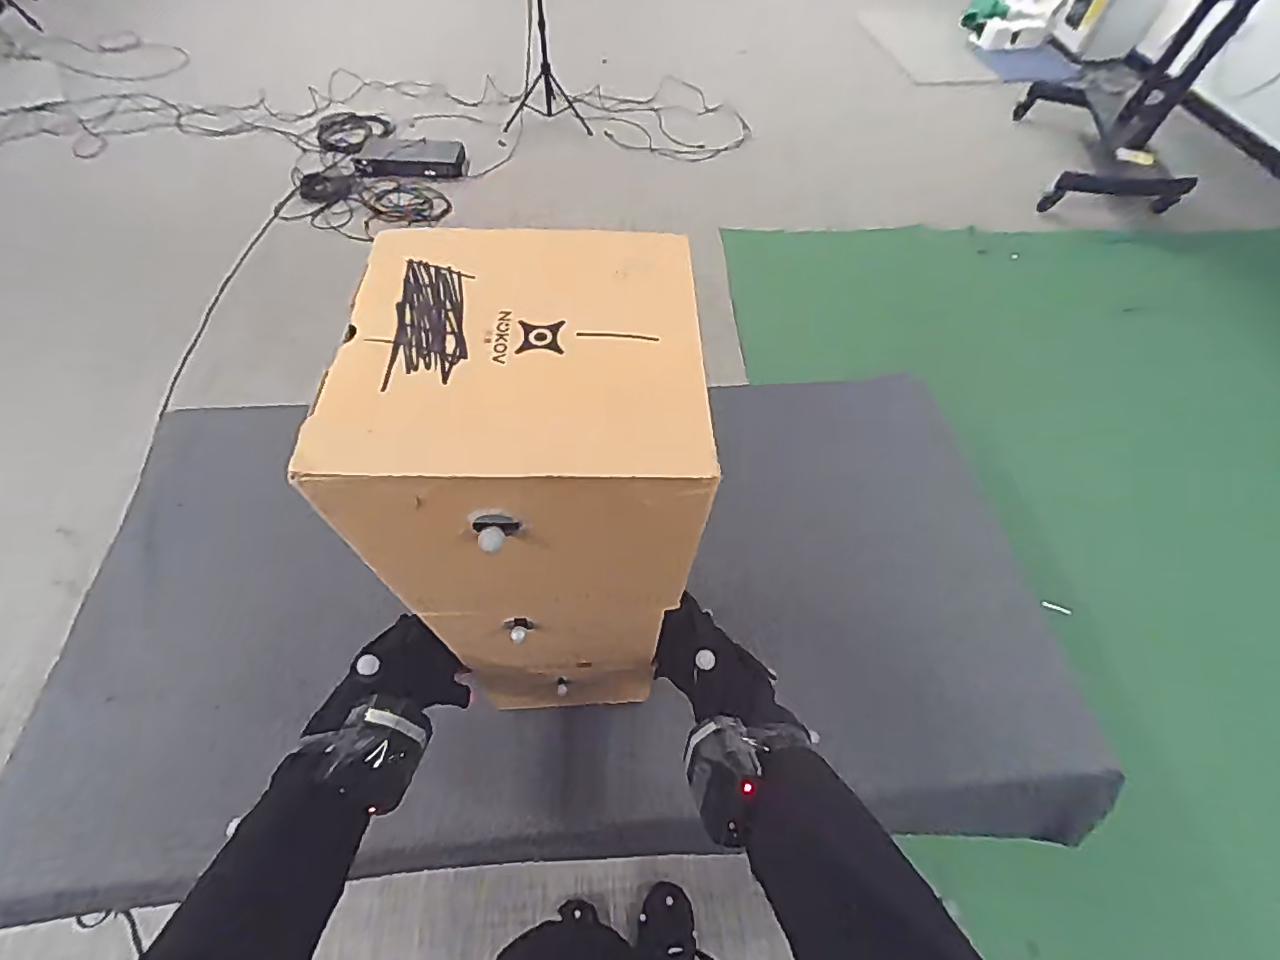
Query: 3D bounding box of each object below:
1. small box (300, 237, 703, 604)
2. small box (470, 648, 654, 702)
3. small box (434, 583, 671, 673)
[{"bbox_3d":[-0.063,-0.027,0.340,0.179,0.176,0.168,0,58,-3],"label":"small box"},{"bbox_3d":[-0.080,0.149,0.617,0.179,0.176,0.168,-2,58,-5],"label":"small box"},{"bbox_3d":[-0.071,0.059,0.483,0.168,0.176,0.179,-3,58,-6],"label":"small box"}]
